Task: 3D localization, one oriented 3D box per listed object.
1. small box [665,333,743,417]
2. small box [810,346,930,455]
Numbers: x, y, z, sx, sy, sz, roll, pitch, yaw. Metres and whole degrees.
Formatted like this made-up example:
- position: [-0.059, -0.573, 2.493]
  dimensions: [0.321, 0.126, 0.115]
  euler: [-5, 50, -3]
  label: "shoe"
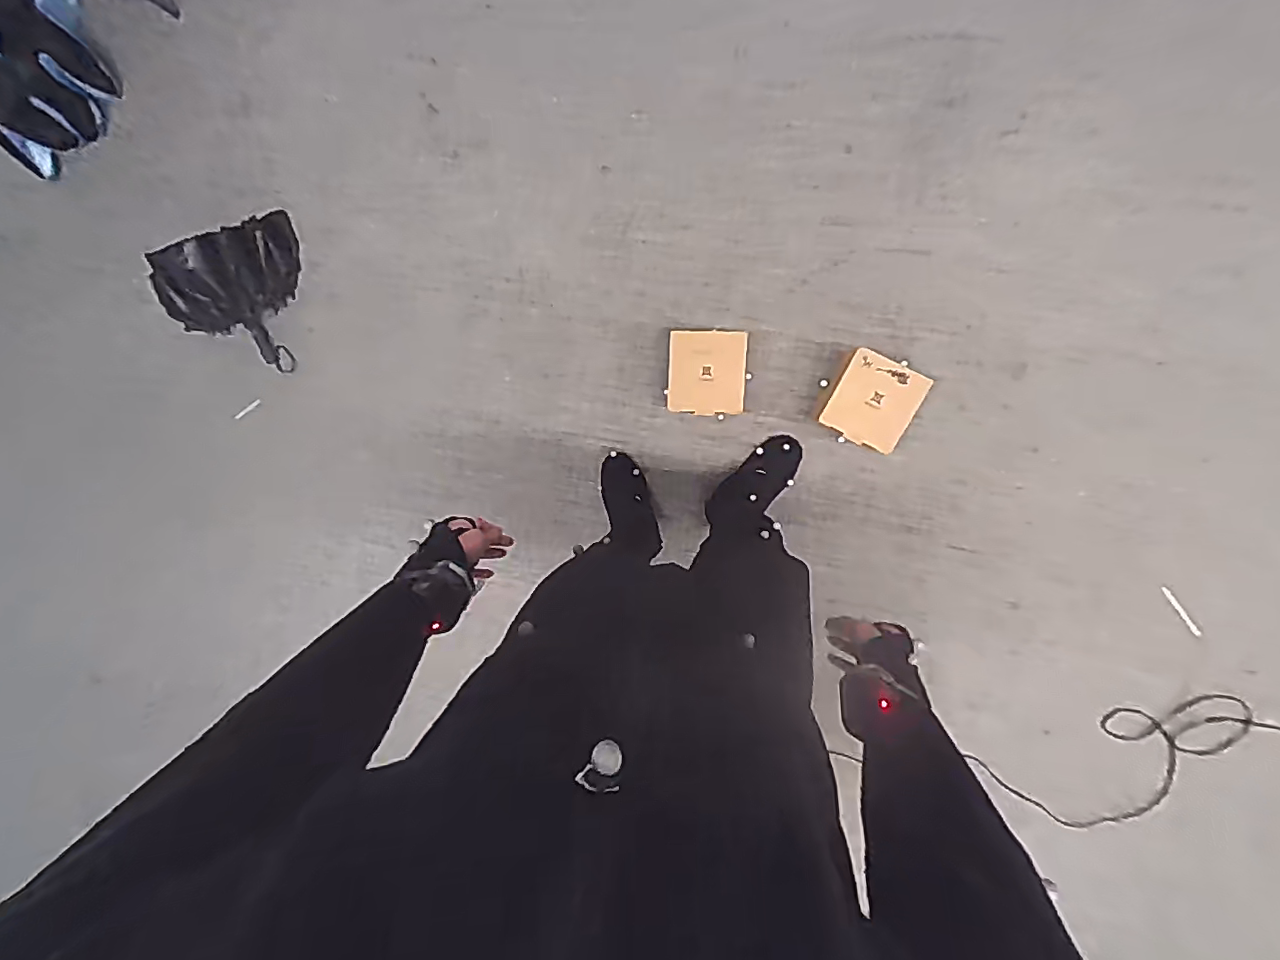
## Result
- position: [0.147, -0.236, 1.230]
  dimensions: [0.168, 0.176, 0.179]
  euler: [1, 98, 8]
  label: "small box"
- position: [0.489, -0.174, 1.182]
  dimensions: [0.168, 0.176, 0.179]
  euler: [27, 103, 5]
  label: "small box"
